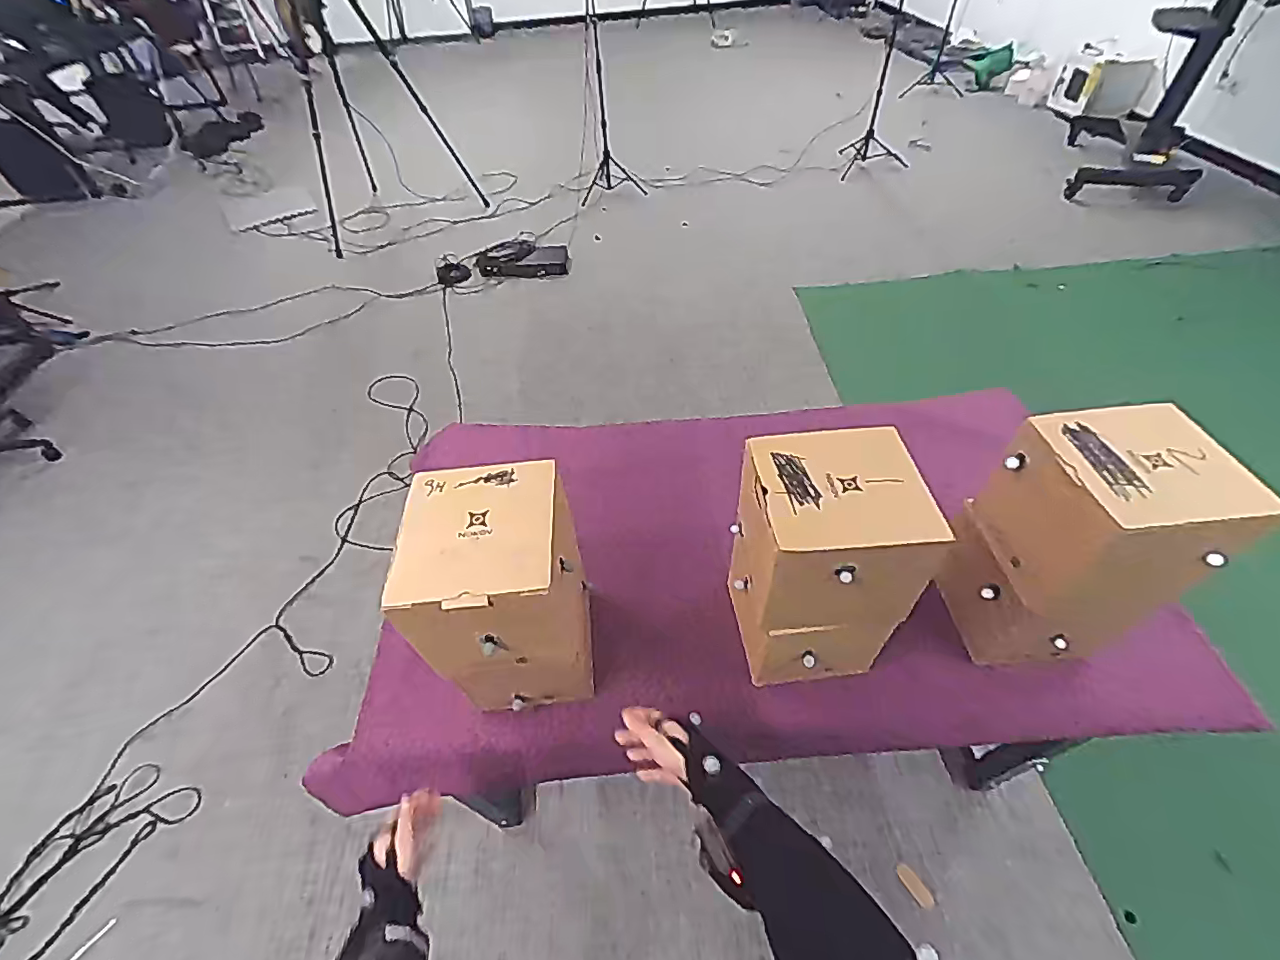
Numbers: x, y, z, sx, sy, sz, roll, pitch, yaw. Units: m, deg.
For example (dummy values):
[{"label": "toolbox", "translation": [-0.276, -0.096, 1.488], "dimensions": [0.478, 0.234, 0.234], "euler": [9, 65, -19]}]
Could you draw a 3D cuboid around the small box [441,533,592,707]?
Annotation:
[{"label": "small box", "translation": [-0.160, 0.196, 0.758], "dimensions": [0.168, 0.176, 0.179], "euler": [-6, 49, -1]}]

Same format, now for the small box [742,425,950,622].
[{"label": "small box", "translation": [0.219, 0.055, 0.638], "dimensions": [0.179, 0.176, 0.168], "euler": [-3, 47, 0]}]

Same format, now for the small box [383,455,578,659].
[{"label": "small box", "translation": [-0.165, 0.096, 0.628], "dimensions": [0.168, 0.176, 0.179], "euler": [-5, 50, 0]}]

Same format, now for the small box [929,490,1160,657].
[{"label": "small box", "translation": [0.543, 0.137, 0.760], "dimensions": [0.168, 0.176, 0.179], "euler": [-3, 48, 1]}]

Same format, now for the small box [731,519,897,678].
[{"label": "small box", "translation": [0.228, 0.164, 0.761], "dimensions": [0.168, 0.176, 0.179], "euler": [-6, 47, -1]}]
